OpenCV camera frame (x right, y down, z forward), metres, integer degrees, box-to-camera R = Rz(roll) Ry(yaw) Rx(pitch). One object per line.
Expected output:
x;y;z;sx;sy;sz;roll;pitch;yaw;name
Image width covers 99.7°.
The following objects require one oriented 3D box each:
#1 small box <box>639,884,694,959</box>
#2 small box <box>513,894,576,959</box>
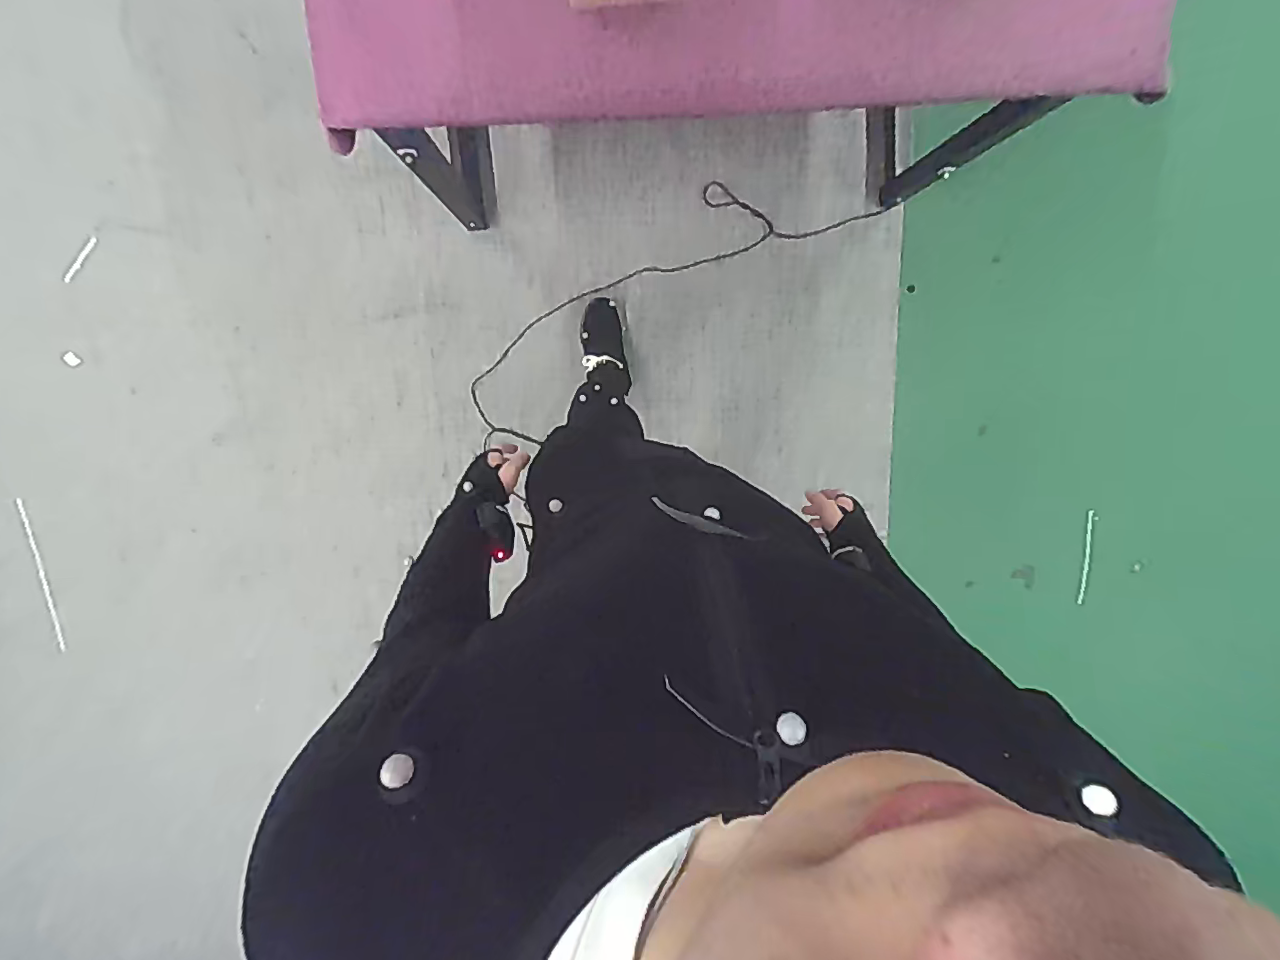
0.090;1.485;1.781;0.168;0.176;0.179;-9;101;-1;small box
-0.277;1.349;1.569;0.168;0.176;0.179;6;102;-4;small box
